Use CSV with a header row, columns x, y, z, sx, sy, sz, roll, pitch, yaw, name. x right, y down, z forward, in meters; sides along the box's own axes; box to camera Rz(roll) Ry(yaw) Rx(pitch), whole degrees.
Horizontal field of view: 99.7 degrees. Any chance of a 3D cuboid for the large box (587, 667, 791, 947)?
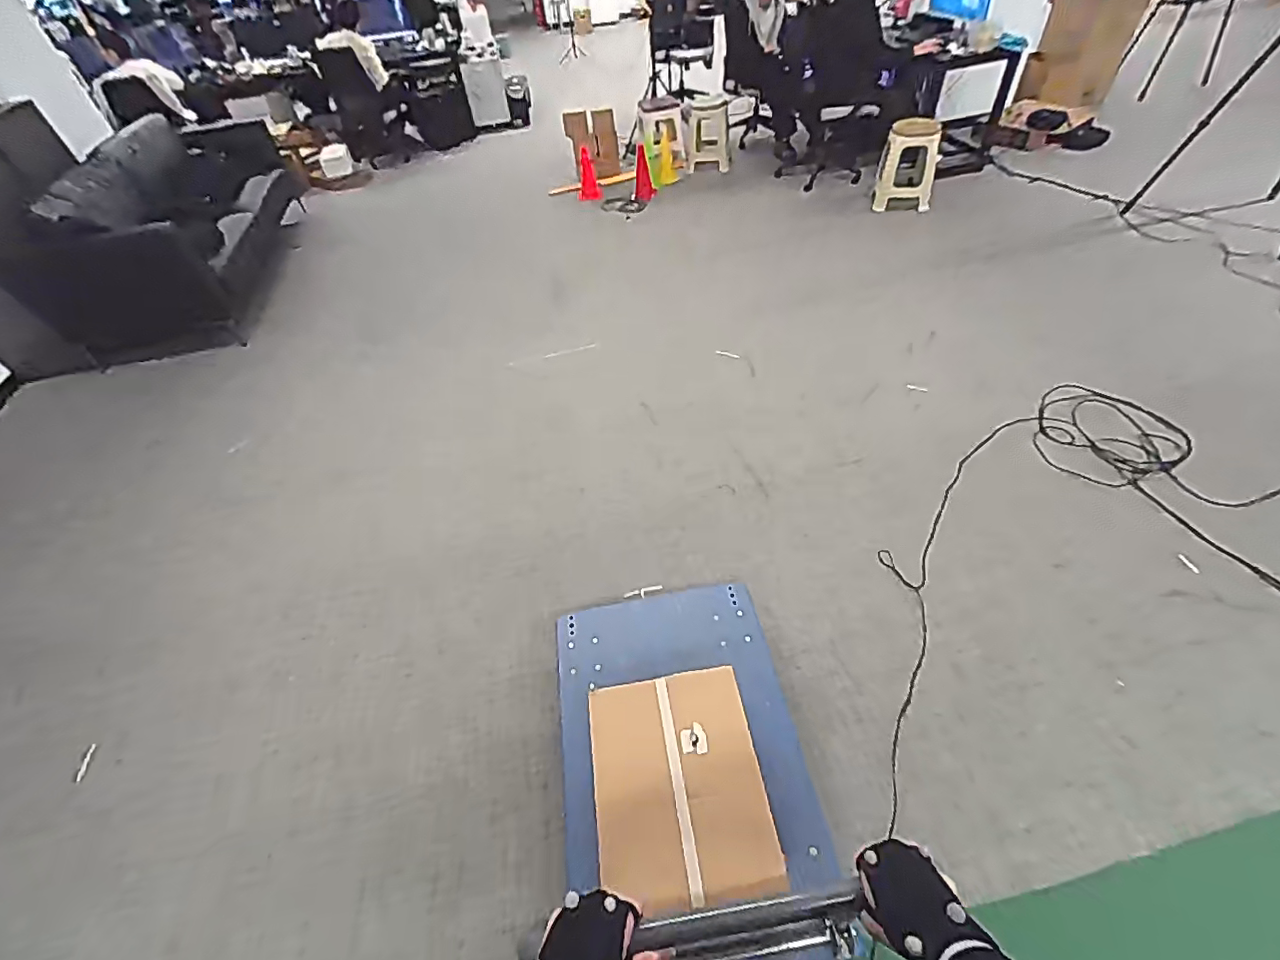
x,y,z,sx,sy,sz,roll,pitch,yaw,name
0.084,0.669,1.121,0.320,0.320,0.408,-9,45,-3,large box
